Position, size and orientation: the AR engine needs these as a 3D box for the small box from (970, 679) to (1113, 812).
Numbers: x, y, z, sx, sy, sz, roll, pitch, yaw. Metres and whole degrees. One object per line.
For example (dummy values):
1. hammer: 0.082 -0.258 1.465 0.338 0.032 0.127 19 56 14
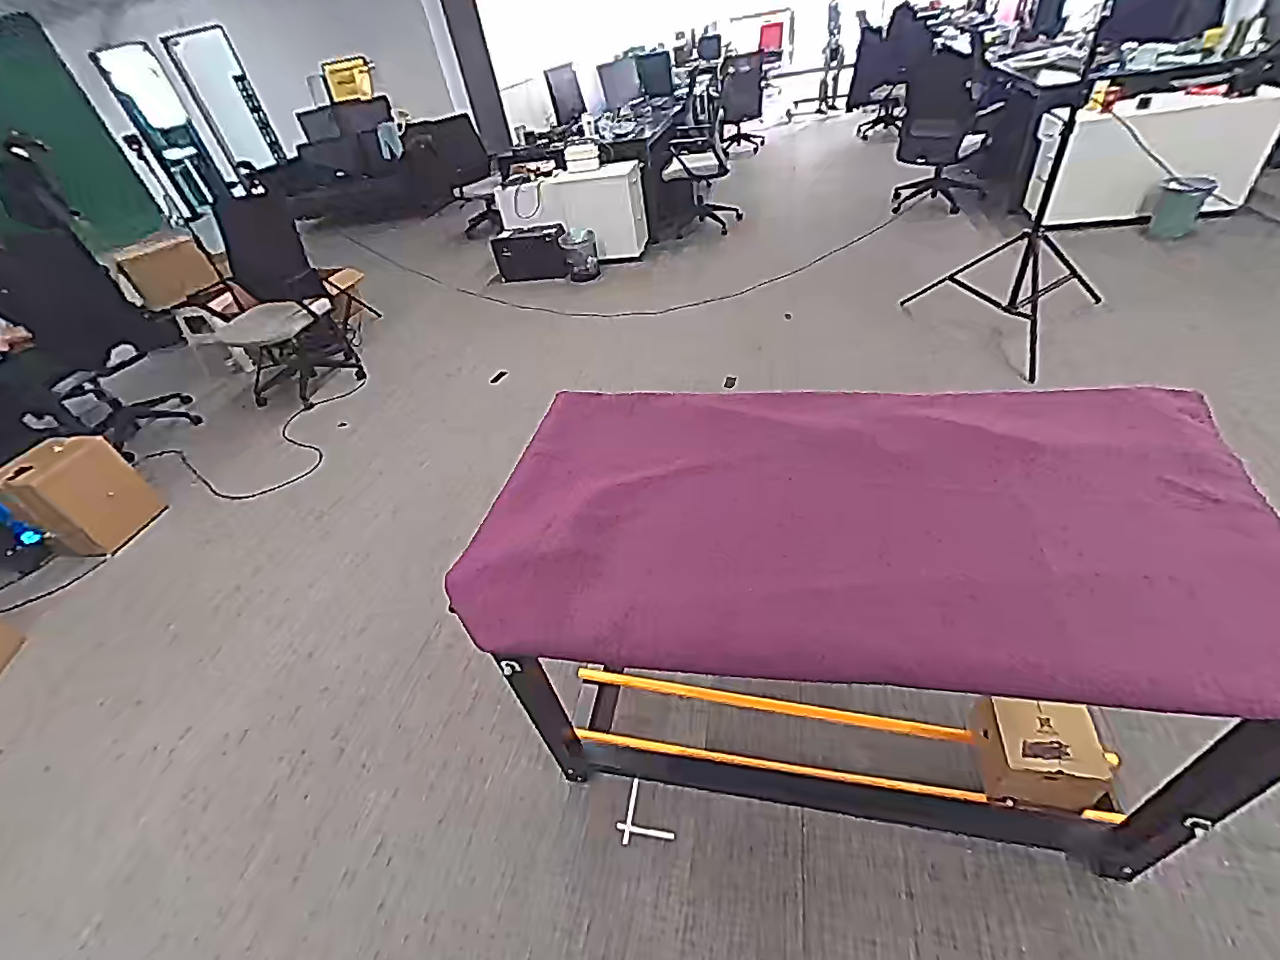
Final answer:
1. small box: 0.778 0.525 1.070 0.168 0.176 0.179 2 41 16
